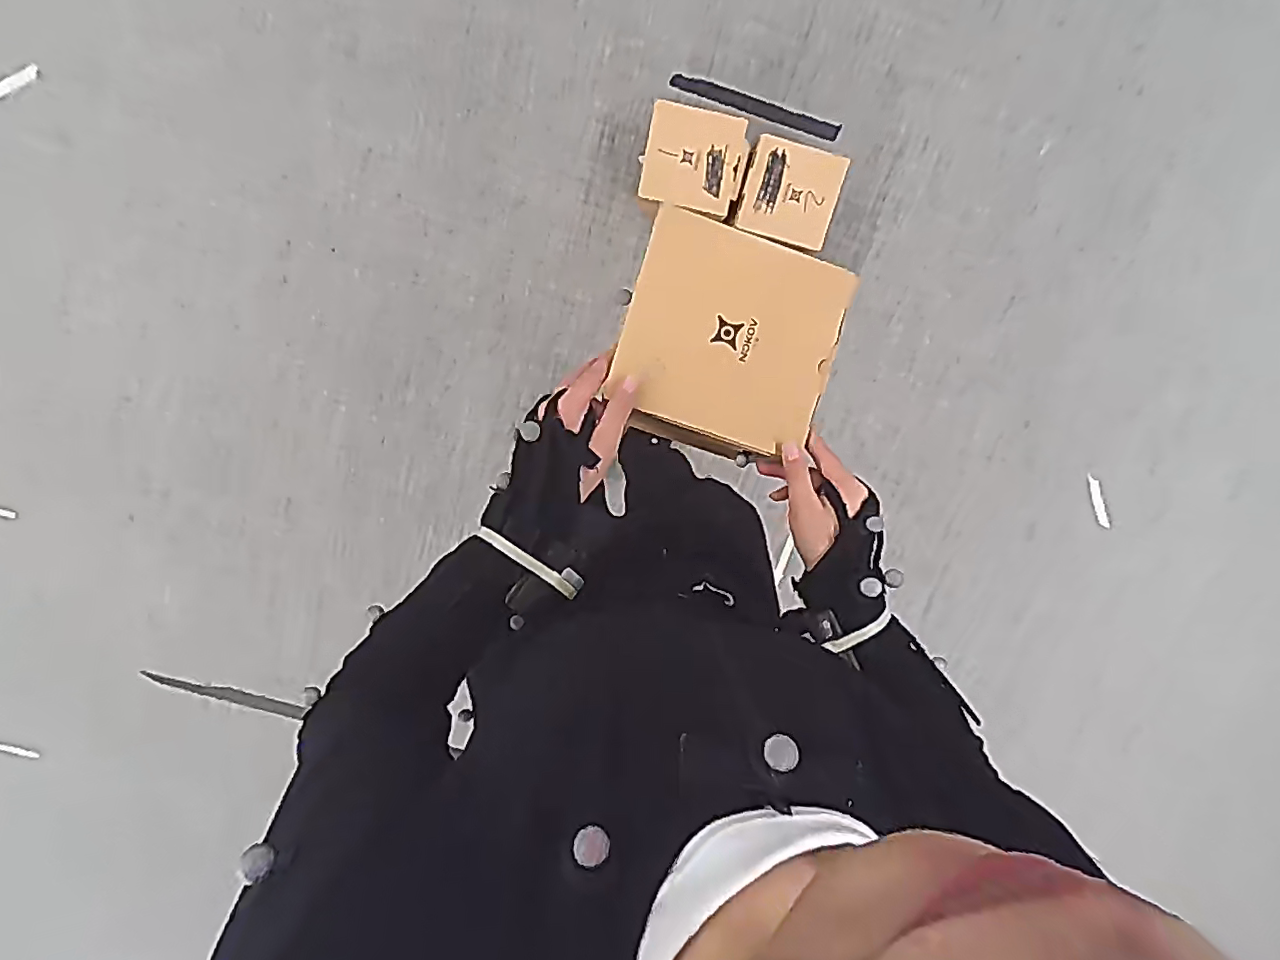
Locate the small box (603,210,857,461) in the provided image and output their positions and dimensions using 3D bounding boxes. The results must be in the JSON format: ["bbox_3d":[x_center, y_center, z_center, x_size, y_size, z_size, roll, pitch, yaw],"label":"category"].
[{"bbox_3d":[0.068,-0.119,0.520,0.179,0.176,0.168,17,91,-6],"label":"small box"}]
